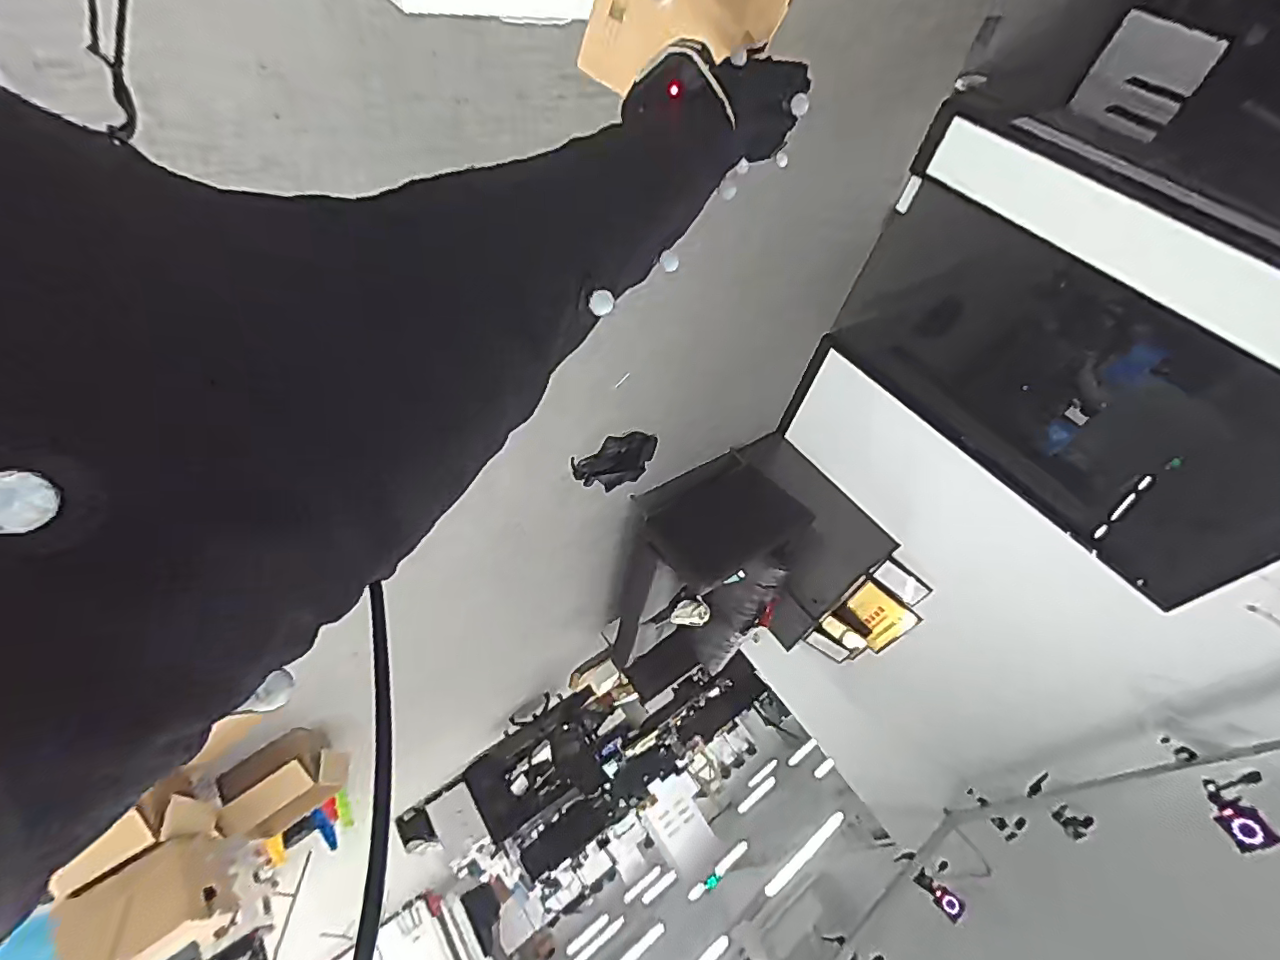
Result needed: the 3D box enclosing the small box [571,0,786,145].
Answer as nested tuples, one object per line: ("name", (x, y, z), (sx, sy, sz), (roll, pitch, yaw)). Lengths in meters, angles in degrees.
("small box", (0.046, -0.501, 0.557), (0.176, 0.179, 0.168), (23, 143, -14))
